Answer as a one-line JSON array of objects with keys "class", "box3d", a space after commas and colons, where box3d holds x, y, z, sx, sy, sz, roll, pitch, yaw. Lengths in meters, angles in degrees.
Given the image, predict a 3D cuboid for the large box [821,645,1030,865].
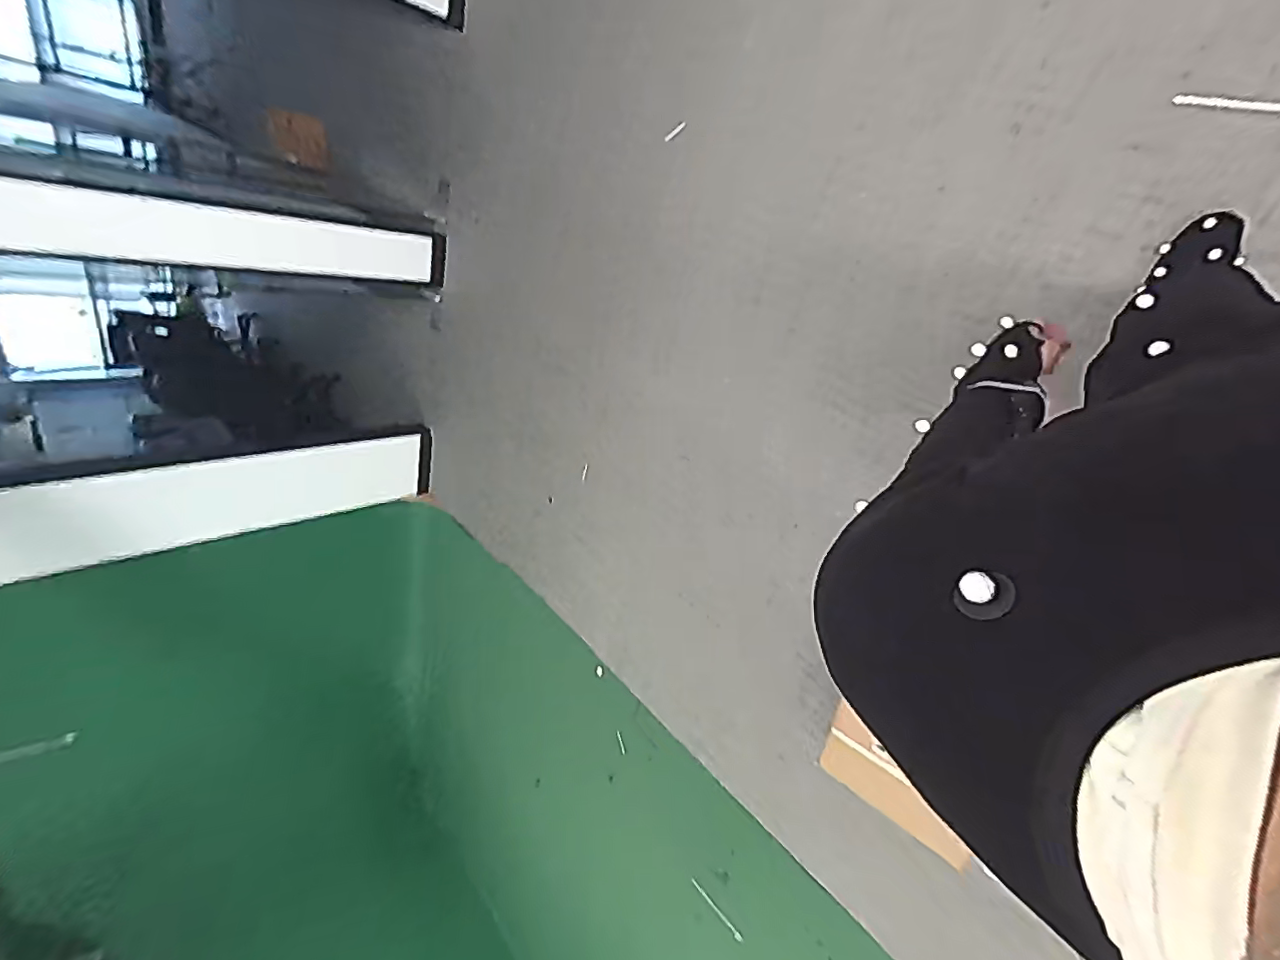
[{"class": "large box", "box3d": [0.800, 0.746, 1.533, 0.408, 0.320, 0.320, 27, 117, 38]}]
